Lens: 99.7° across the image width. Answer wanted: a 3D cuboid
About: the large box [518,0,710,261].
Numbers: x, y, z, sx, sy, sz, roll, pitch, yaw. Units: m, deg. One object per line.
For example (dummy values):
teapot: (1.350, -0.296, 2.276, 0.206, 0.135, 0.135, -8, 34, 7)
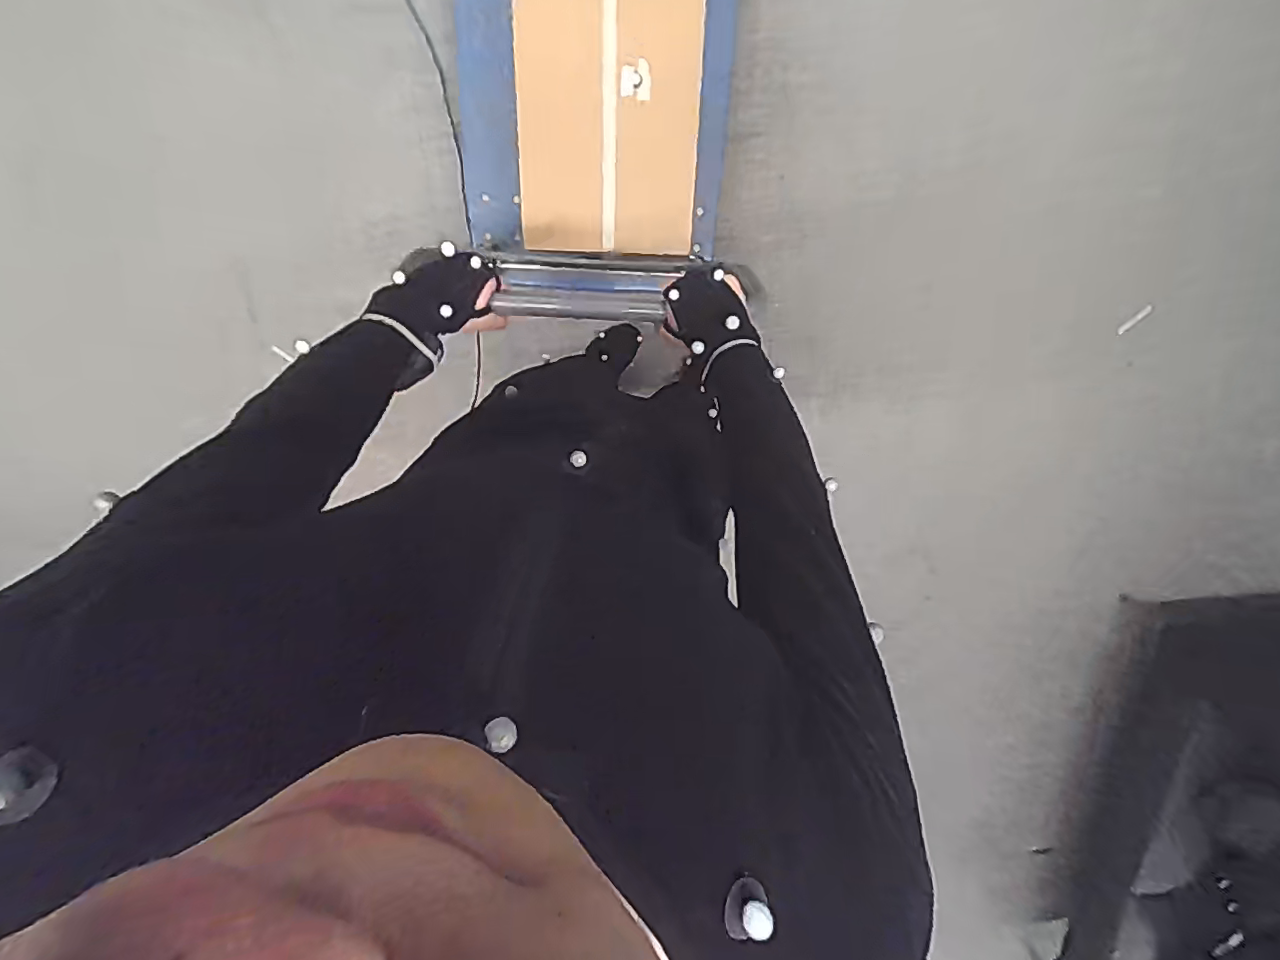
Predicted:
large box: (-0.050, -0.651, 1.062, 0.320, 0.320, 0.408, 1, 111, -4)
